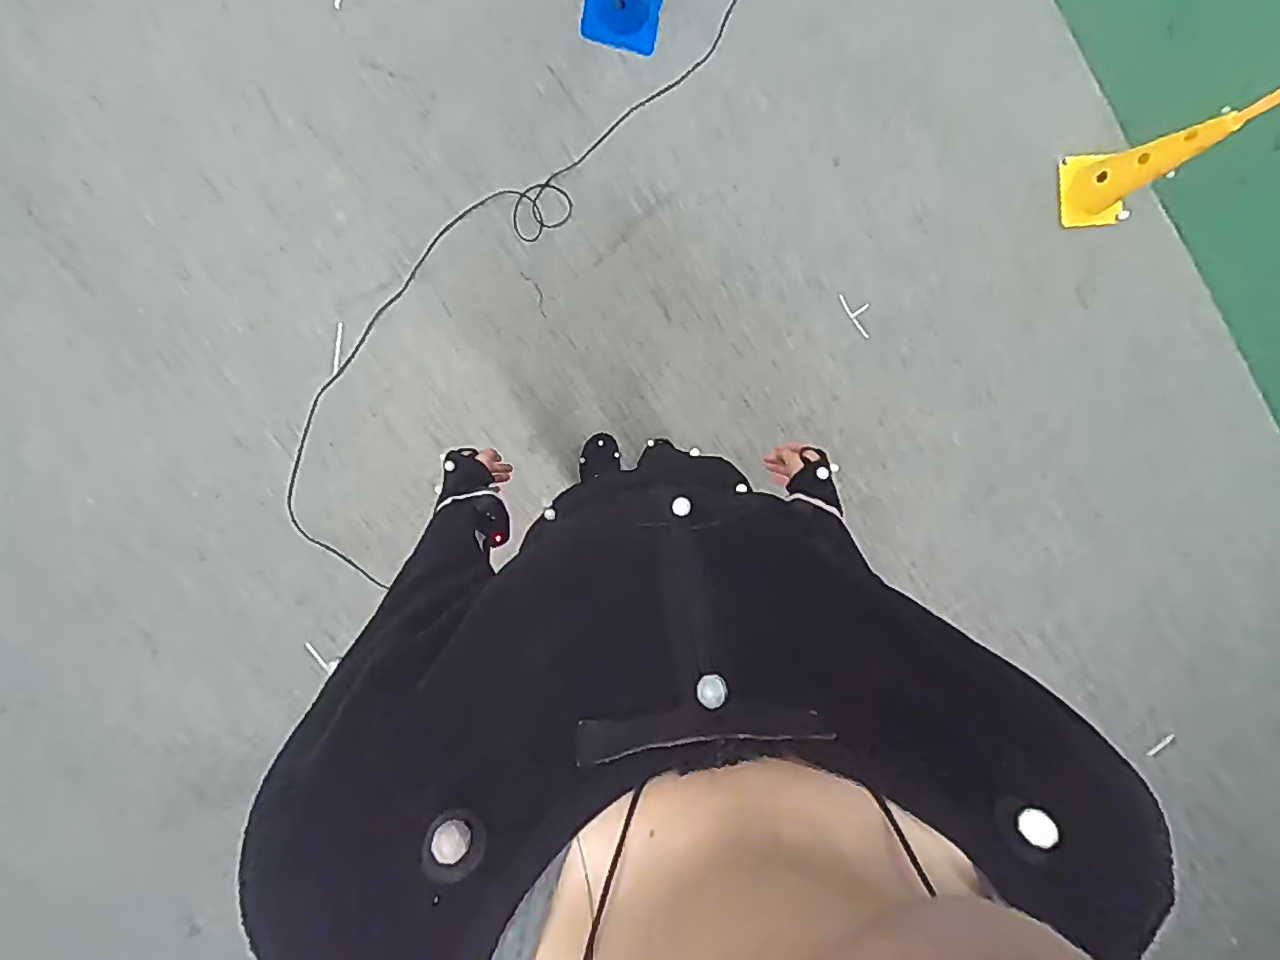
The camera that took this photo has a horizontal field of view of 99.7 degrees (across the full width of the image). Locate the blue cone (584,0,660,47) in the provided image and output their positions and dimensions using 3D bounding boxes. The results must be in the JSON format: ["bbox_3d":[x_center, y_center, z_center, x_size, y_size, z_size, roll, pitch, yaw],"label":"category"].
[{"bbox_3d":[-0.033,-1.214,1.231,0.193,0.380,0.192,9,94,-5],"label":"blue cone"}]
